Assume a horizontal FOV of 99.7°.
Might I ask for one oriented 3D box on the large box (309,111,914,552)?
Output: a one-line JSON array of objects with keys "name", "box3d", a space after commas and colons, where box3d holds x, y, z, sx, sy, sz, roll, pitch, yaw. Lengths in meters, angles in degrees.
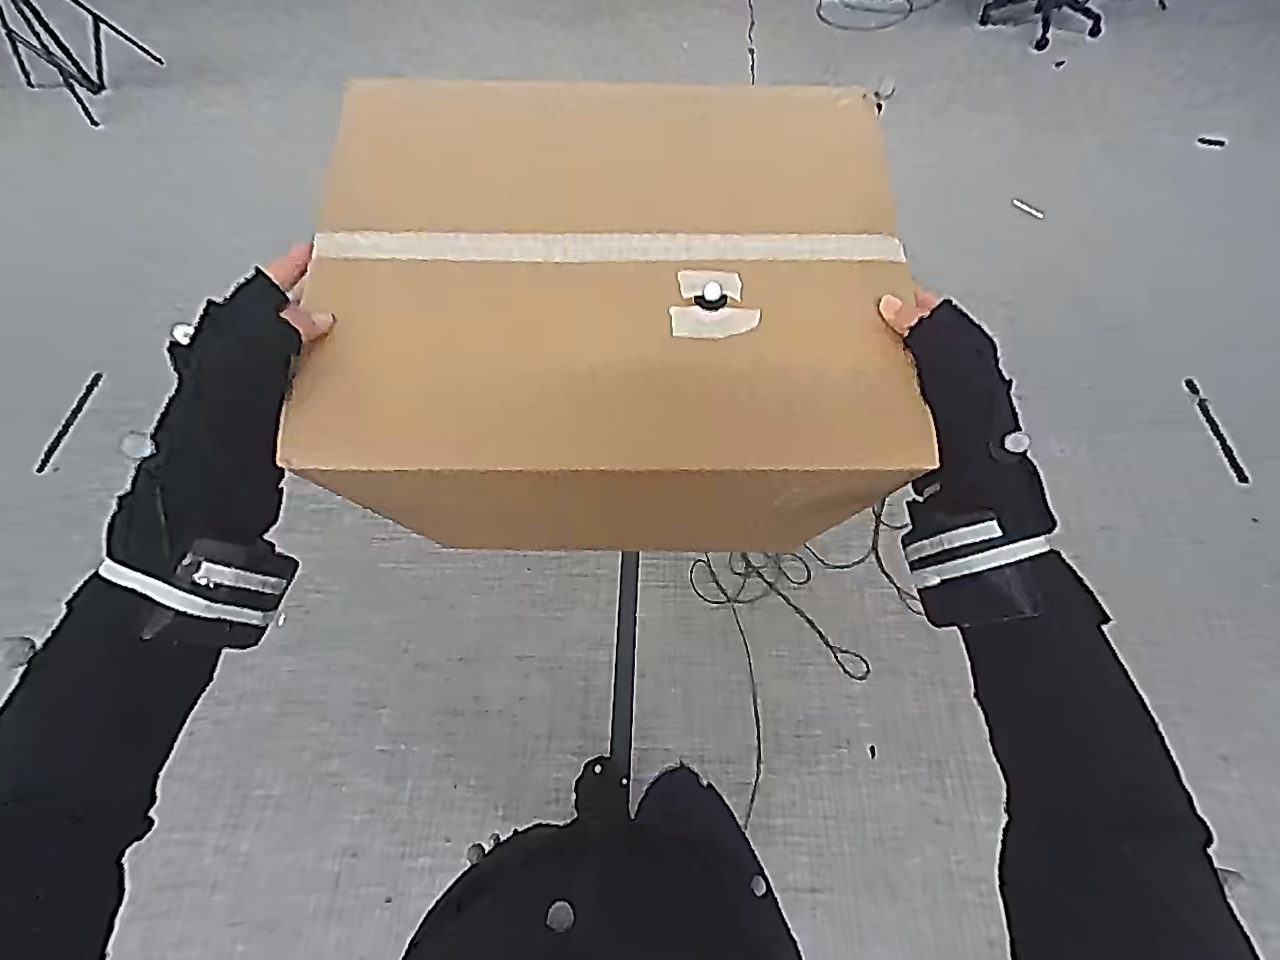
[{"name": "large box", "box3d": [-0.022, -0.110, 0.537, 0.408, 0.320, 0.320, 0, 73, -1]}]
